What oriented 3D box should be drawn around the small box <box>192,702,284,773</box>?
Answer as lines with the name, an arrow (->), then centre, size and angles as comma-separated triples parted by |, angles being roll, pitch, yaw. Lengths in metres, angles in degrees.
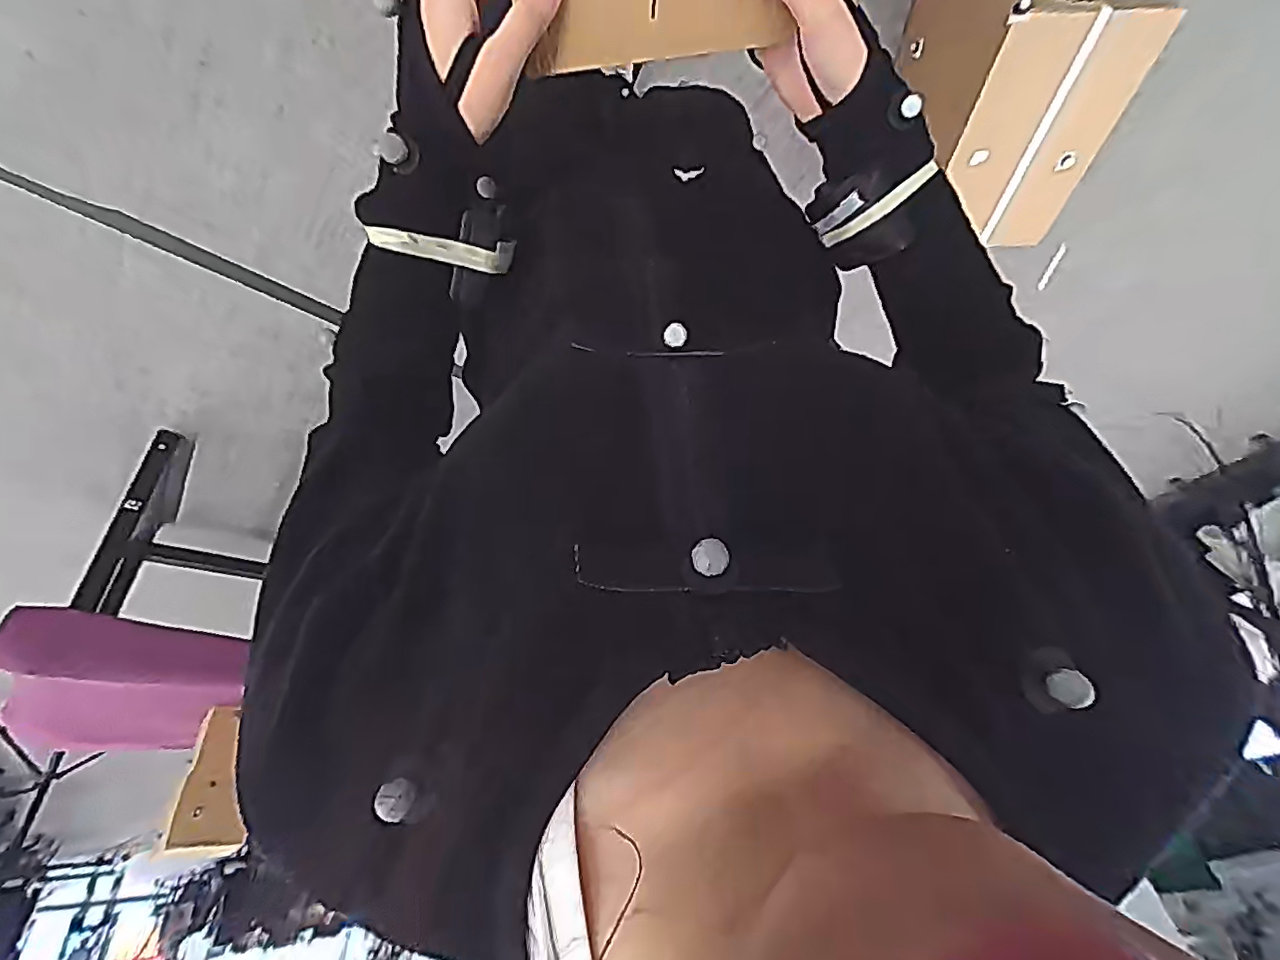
small box -> -1.126, 0.734, 1.515 | 0.168, 0.176, 0.179 | 21, 133, -35

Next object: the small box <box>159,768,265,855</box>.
small box -> -1.113, 0.861, 1.415 | 0.168, 0.176, 0.179 | 23, 133, -36

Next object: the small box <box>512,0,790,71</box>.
small box -> -0.005, -0.376, 0.314 | 0.168, 0.176, 0.179 | -8, 144, -2
